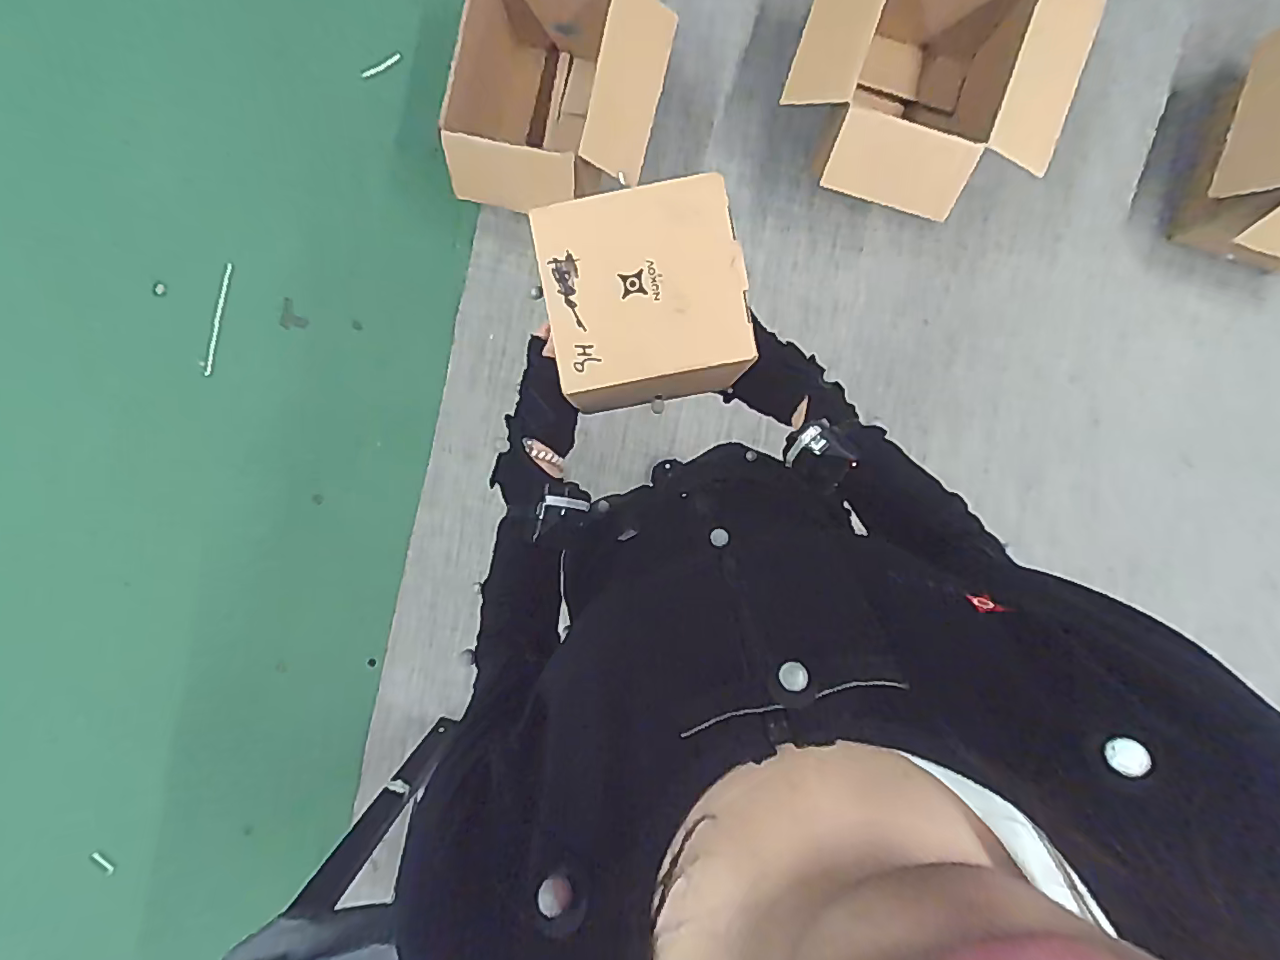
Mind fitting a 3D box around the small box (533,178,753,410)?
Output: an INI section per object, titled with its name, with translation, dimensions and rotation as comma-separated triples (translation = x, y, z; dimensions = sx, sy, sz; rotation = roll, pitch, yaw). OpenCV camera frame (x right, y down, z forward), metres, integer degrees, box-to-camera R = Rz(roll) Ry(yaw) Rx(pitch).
[small box]
translation = 0.001, -0.174, 0.555
dimensions = 0.179, 0.176, 0.168
rotation = -10, 89, 0
